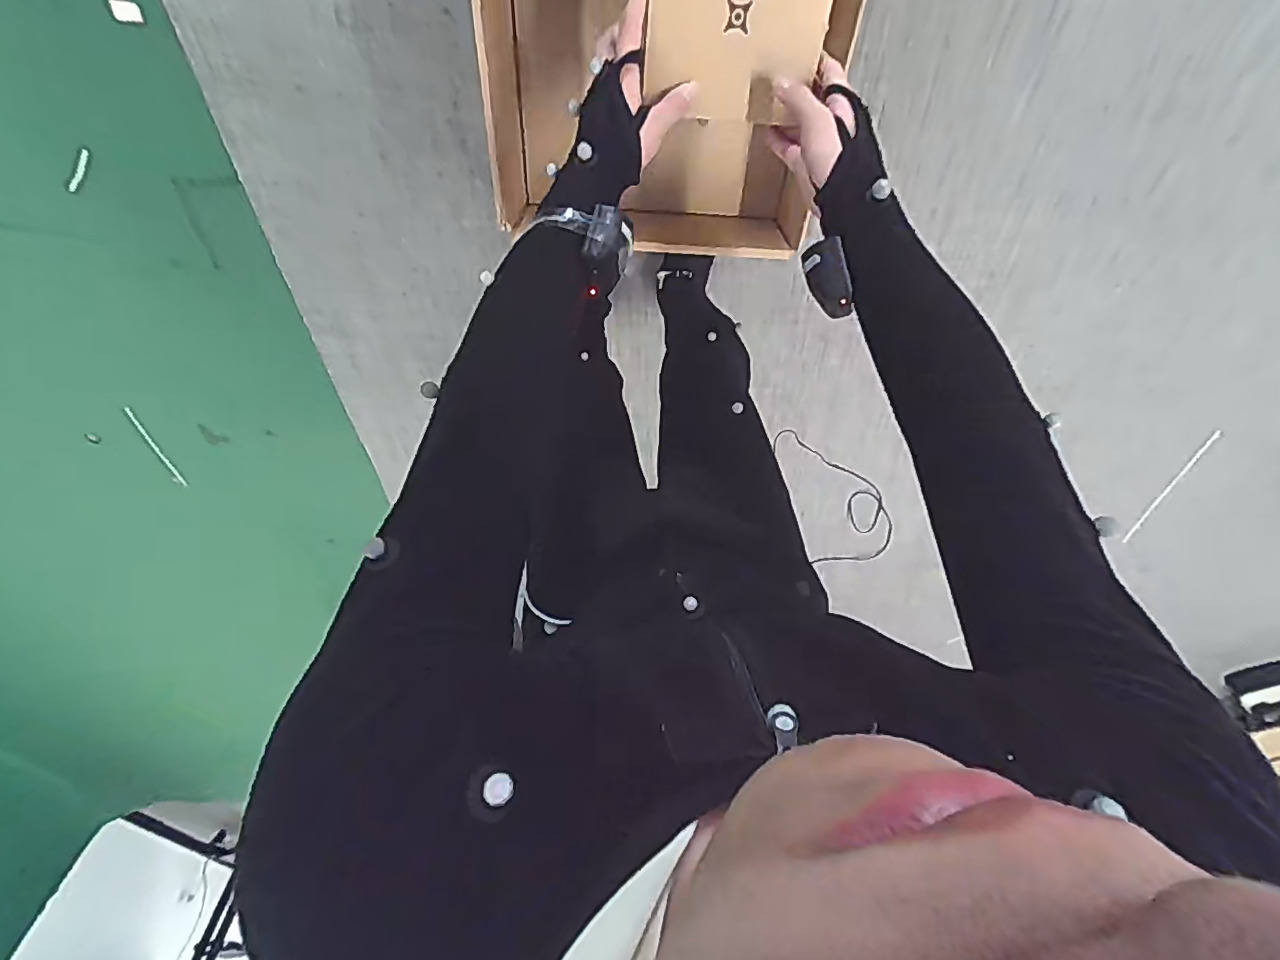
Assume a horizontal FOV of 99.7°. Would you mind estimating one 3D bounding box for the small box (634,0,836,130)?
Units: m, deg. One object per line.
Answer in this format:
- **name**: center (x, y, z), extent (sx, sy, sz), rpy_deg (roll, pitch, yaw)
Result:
- **small box**: center (0.085, -0.468, 0.532), extent (0.168, 0.176, 0.179), rpy_deg (1, 131, -7)
